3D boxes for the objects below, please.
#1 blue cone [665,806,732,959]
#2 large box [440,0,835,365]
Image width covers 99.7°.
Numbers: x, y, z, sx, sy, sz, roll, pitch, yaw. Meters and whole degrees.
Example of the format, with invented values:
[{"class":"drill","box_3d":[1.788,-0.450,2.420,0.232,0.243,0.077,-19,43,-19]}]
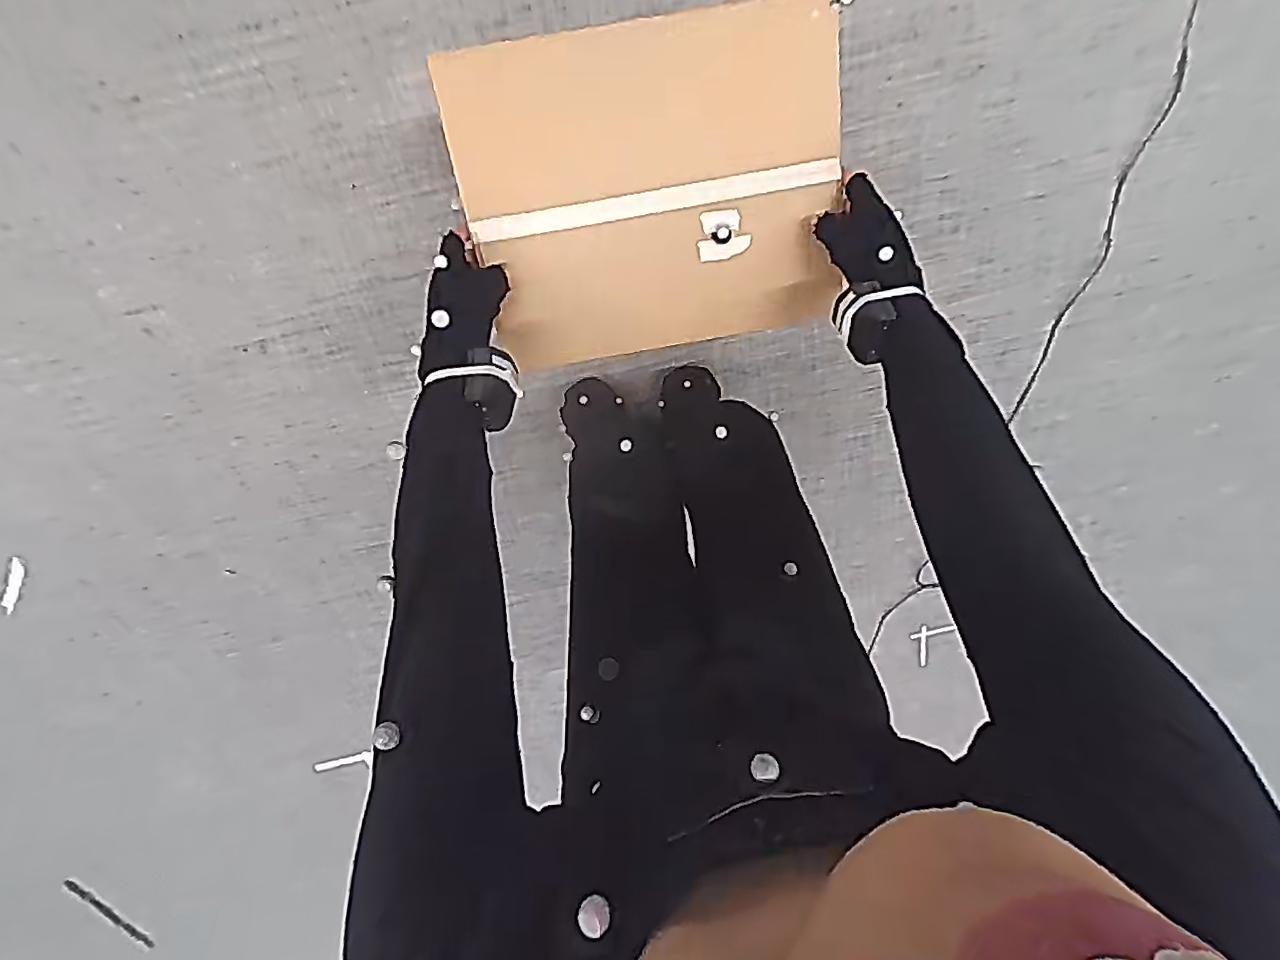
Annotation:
[{"class":"blue cone","box_3d":[0.188,1.142,1.518,0.193,0.380,0.192,7,116,-7]},{"class":"large box","box_3d":[0.004,-0.369,0.734,0.408,0.320,0.320,-10,114,-1]}]
